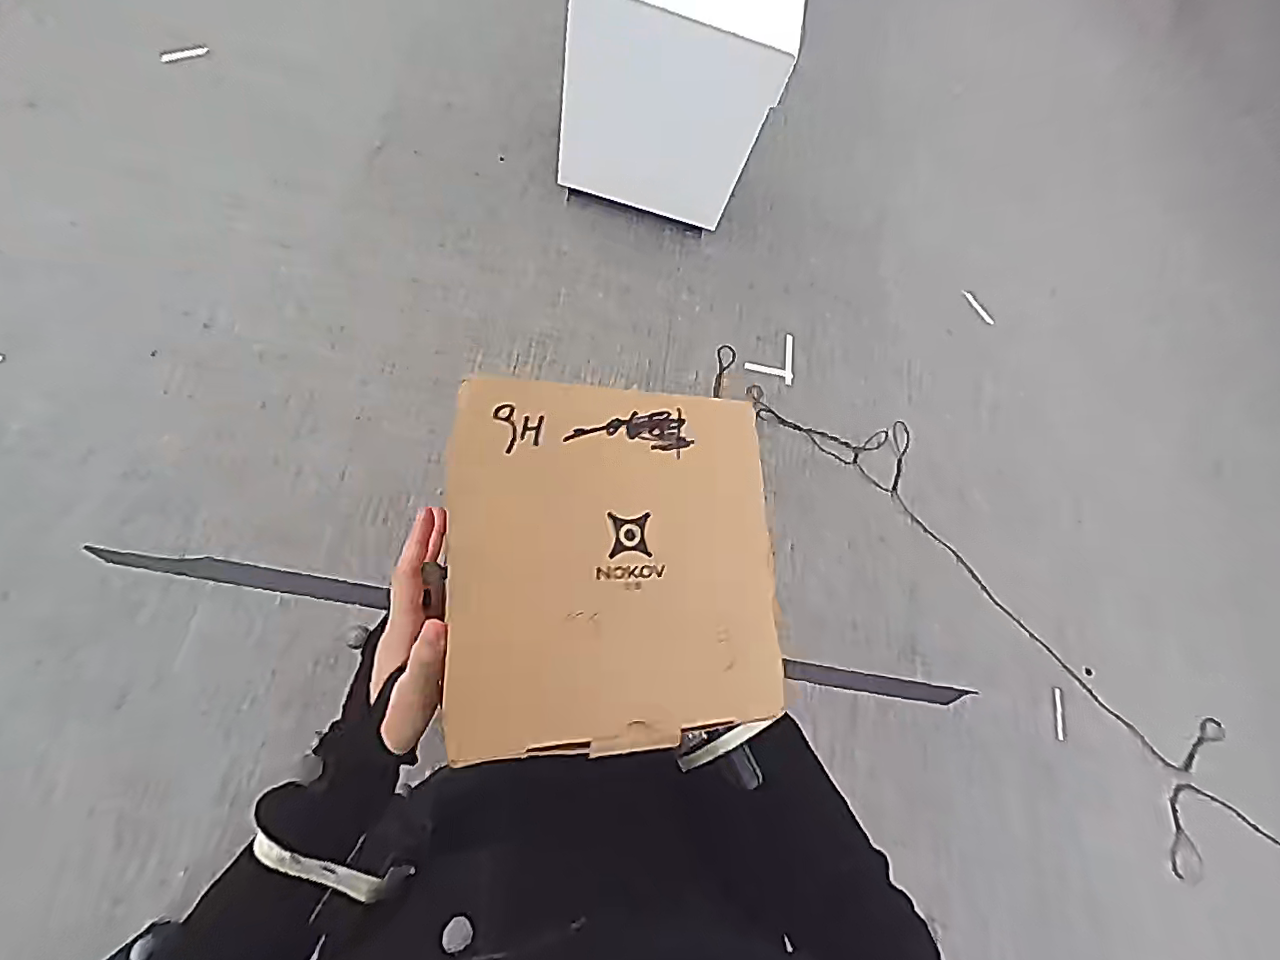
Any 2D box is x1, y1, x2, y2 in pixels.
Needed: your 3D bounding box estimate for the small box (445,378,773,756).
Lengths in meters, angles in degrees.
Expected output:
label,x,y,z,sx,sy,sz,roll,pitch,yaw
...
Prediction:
label,x,y,z,sx,sy,sz,roll,pitch,yaw
small box,-0.035,0.052,0.348,0.168,0.176,0.179,2,78,-20
